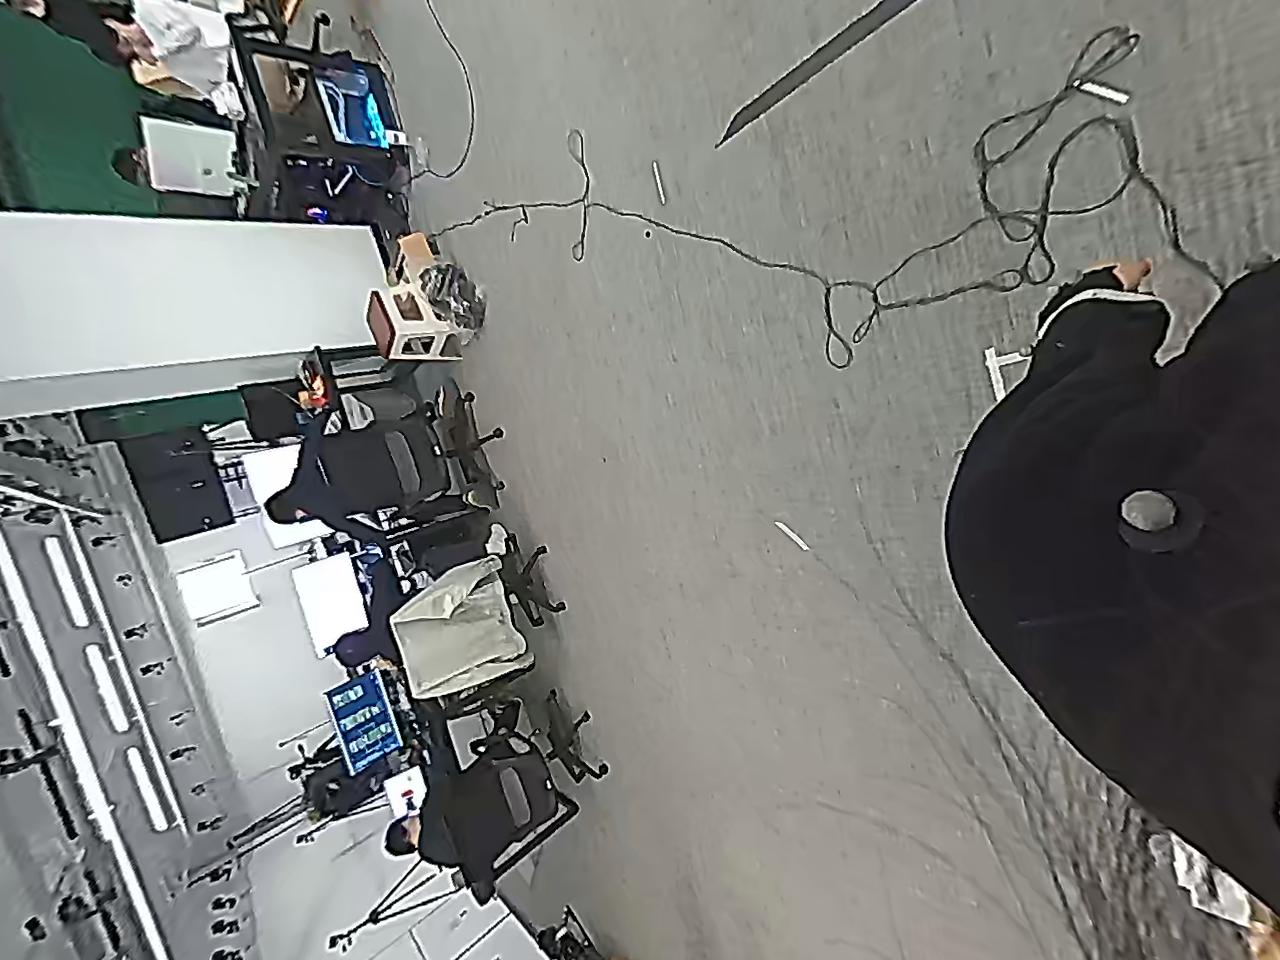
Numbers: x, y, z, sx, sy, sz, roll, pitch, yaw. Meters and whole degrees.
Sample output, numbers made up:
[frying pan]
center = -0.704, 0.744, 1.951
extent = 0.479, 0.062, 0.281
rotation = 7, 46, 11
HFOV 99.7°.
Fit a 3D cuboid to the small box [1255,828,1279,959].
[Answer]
[small box]
center = 0.825, 0.546, 0.611
extent = 0.168, 0.176, 0.179
rotation = -4, 102, 51
